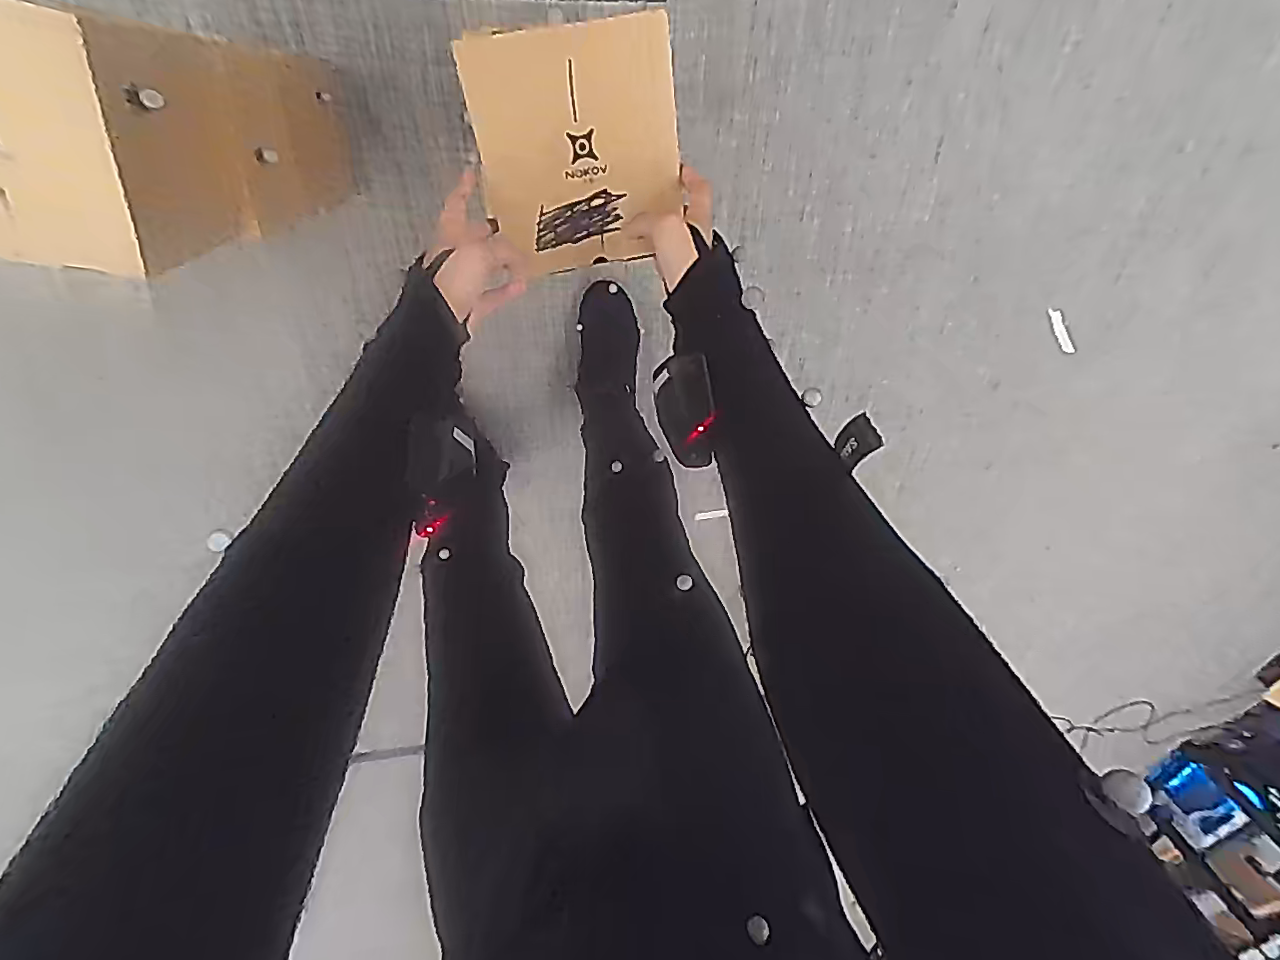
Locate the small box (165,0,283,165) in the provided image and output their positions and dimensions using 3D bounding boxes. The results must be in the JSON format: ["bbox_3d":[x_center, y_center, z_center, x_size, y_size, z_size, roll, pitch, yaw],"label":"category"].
[{"bbox_3d":[-0.494,-0.434,0.542,0.168,0.176,0.179,0,126,-11],"label":"small box"}]

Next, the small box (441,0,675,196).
[{"bbox_3d":[-0.071,-0.370,0.472,0.168,0.176,0.179,-12,127,-5],"label":"small box"}]
